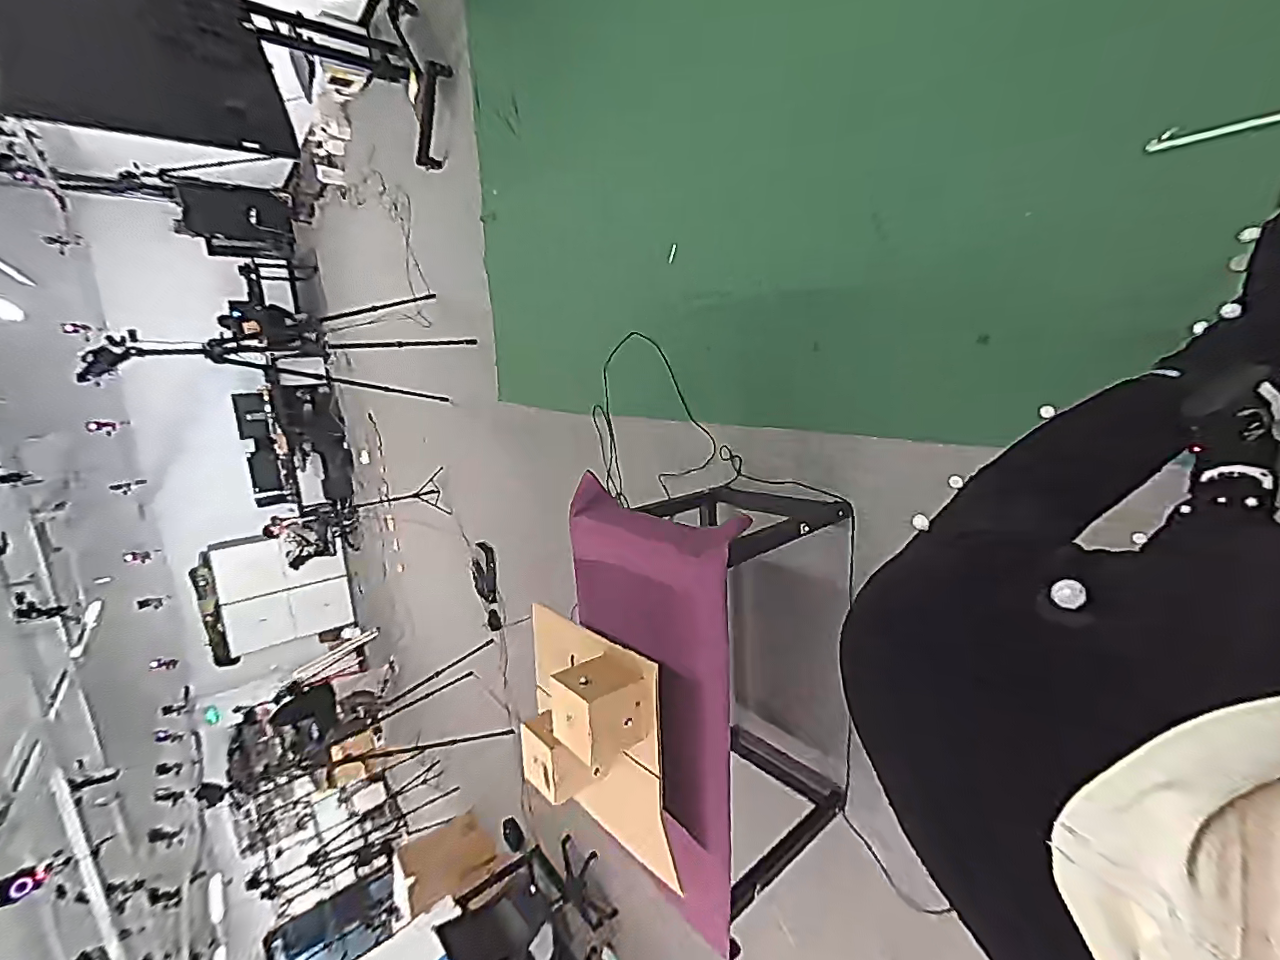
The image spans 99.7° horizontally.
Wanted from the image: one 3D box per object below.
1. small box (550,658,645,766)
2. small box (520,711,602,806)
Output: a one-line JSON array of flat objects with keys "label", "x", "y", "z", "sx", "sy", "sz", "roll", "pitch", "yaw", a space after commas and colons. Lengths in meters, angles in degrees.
[{"label": "small box", "x": -0.106, "y": 0.564, "z": 1.346, "sx": 0.179, "sy": 0.176, "sz": 0.168, "roll": 7, "pitch": 103, "yaw": 49}, {"label": "small box", "x": -0.217, "y": 0.758, "z": 1.515, "sx": 0.179, "sy": 0.176, "sz": 0.168, "roll": 7, "pitch": 102, "yaw": 50}]
